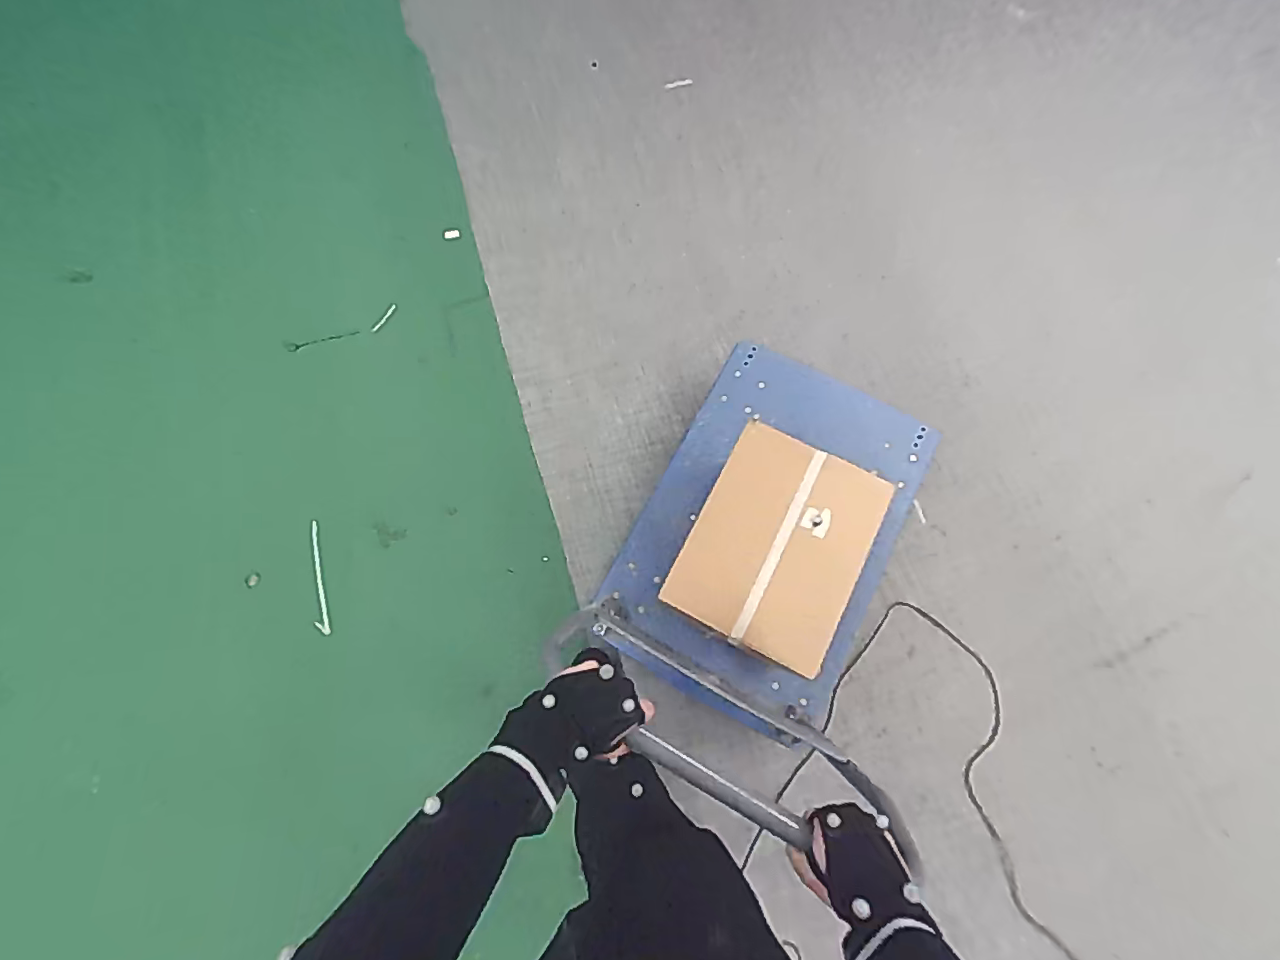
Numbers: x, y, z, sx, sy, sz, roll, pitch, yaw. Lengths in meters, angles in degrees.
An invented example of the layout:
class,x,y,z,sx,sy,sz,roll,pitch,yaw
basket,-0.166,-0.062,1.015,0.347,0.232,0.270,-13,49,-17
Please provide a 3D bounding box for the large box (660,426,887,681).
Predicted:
class,x,y,z,sx,sy,sz,roll,pitch,yaw
large box,0.262,0.166,1.169,0.320,0.320,0.408,27,77,8
